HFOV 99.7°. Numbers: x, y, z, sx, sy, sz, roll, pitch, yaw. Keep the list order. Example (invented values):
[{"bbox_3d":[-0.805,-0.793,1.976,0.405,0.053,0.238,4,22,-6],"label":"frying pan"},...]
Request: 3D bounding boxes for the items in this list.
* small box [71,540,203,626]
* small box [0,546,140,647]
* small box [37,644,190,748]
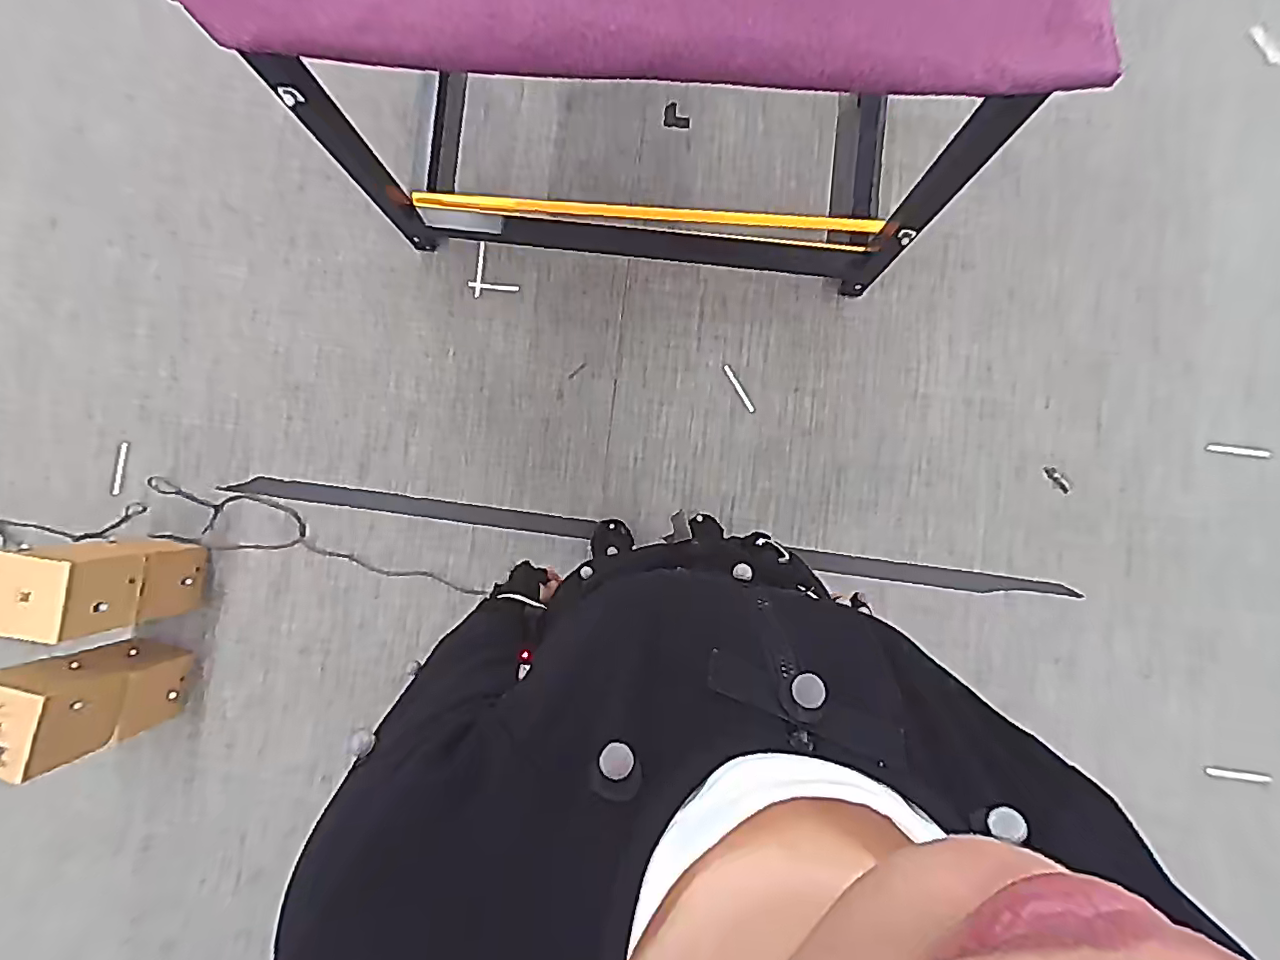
[{"bbox_3d":[-1.210,0.238,1.296,0.179,0.176,0.168,8,89,1],"label":"small box"},{"bbox_3d":[-1.213,0.235,1.133,0.179,0.176,0.168,8,88,2],"label":"small box"},{"bbox_3d":[-1.238,0.502,1.283,0.179,0.176,0.168,14,88,0],"label":"small box"}]
